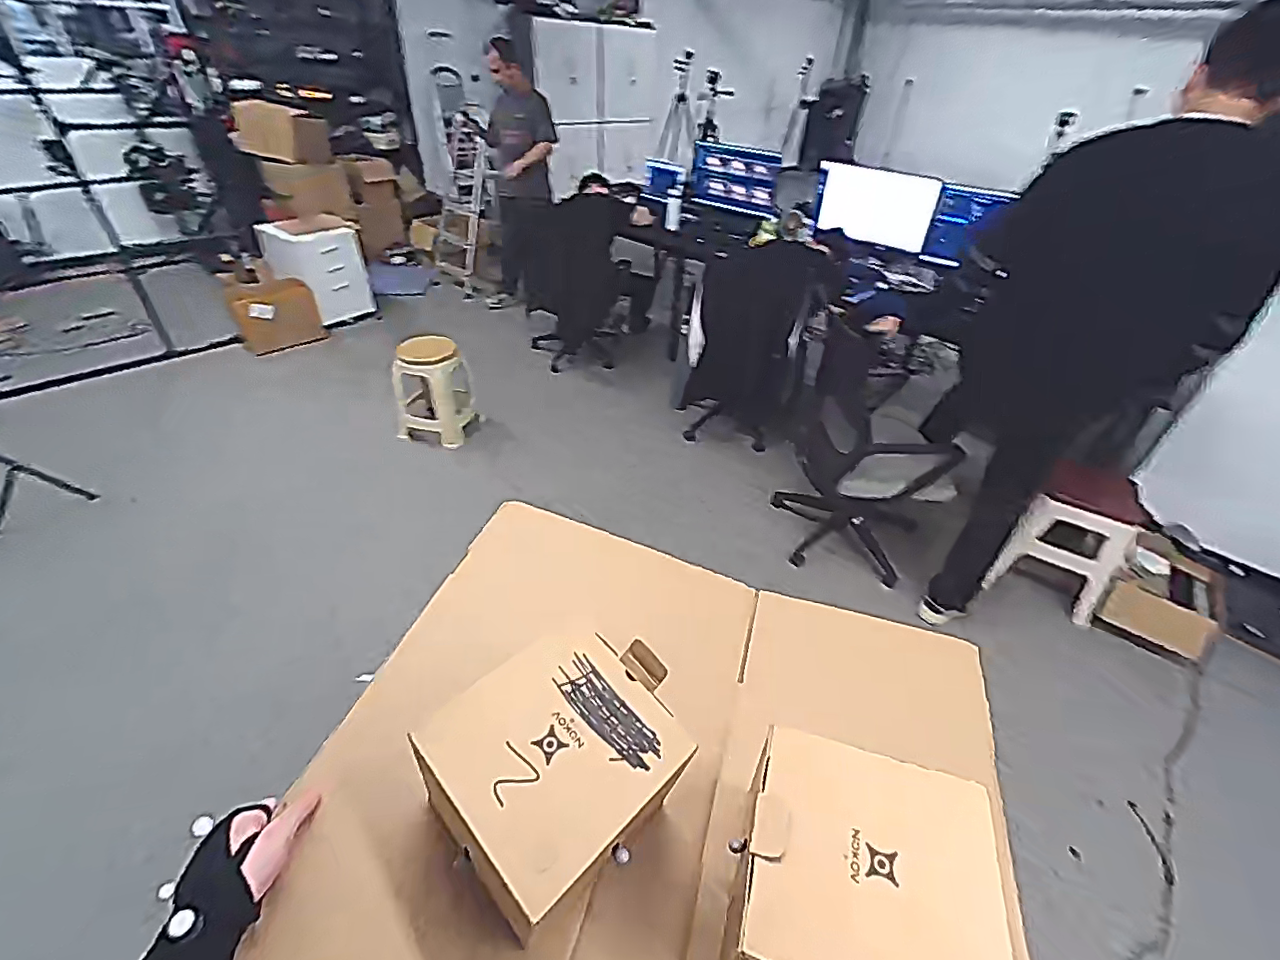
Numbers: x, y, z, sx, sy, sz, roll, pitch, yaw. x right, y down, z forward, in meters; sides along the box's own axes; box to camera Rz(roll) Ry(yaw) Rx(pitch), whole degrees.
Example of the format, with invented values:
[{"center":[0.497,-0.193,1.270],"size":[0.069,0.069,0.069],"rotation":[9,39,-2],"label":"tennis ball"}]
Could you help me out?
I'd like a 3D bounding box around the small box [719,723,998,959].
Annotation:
[{"center":[0.174,0.348,0.469],"size":[0.179,0.176,0.168],"rotation":[10,41,13],"label":"small box"}]
